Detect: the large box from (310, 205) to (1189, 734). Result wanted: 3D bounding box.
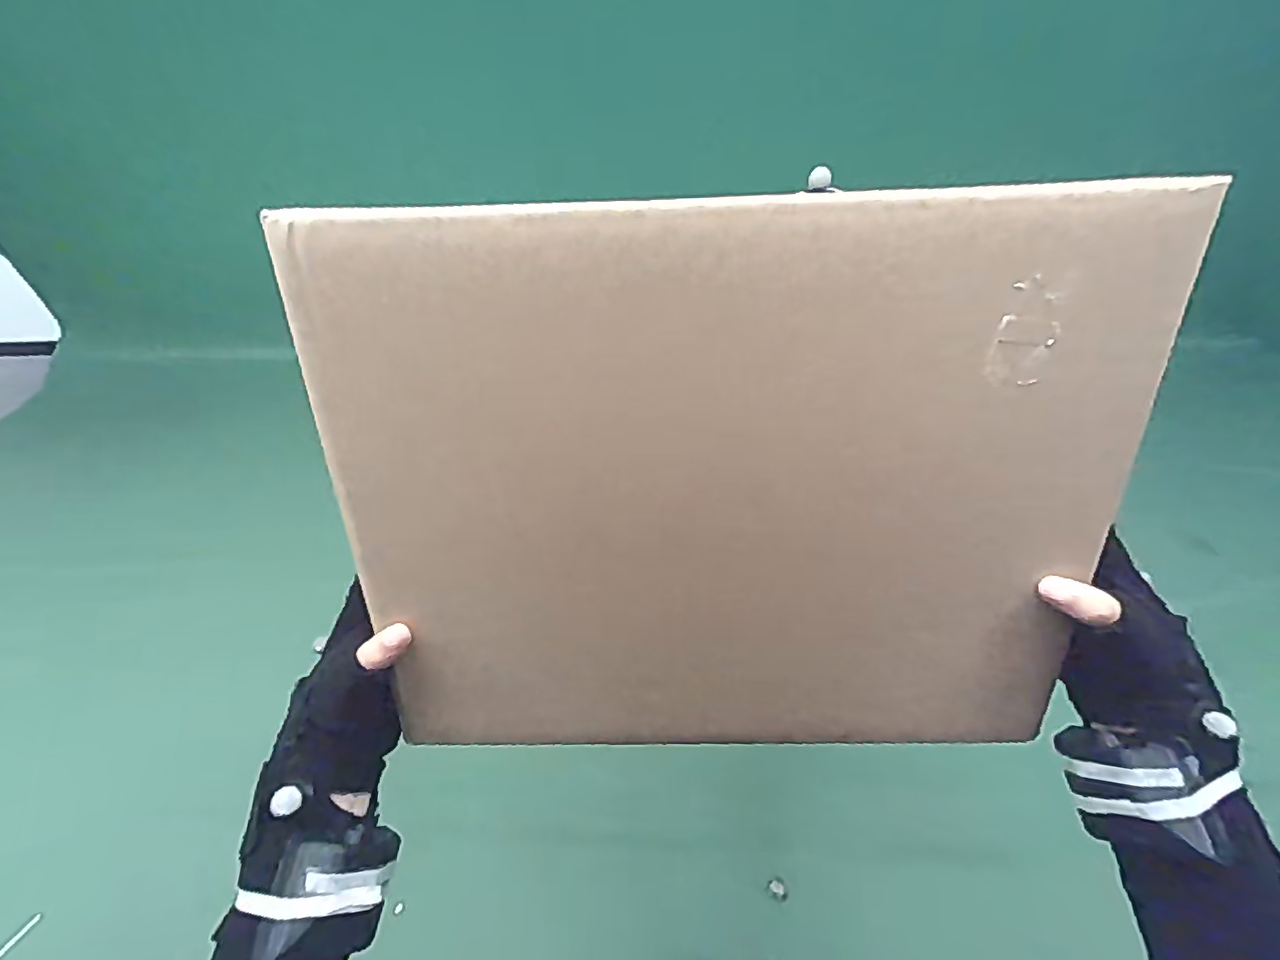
[{"bbox_3d":[0.049,-0.030,0.431,0.408,0.320,0.320,0,23,2],"label":"large box"}]
